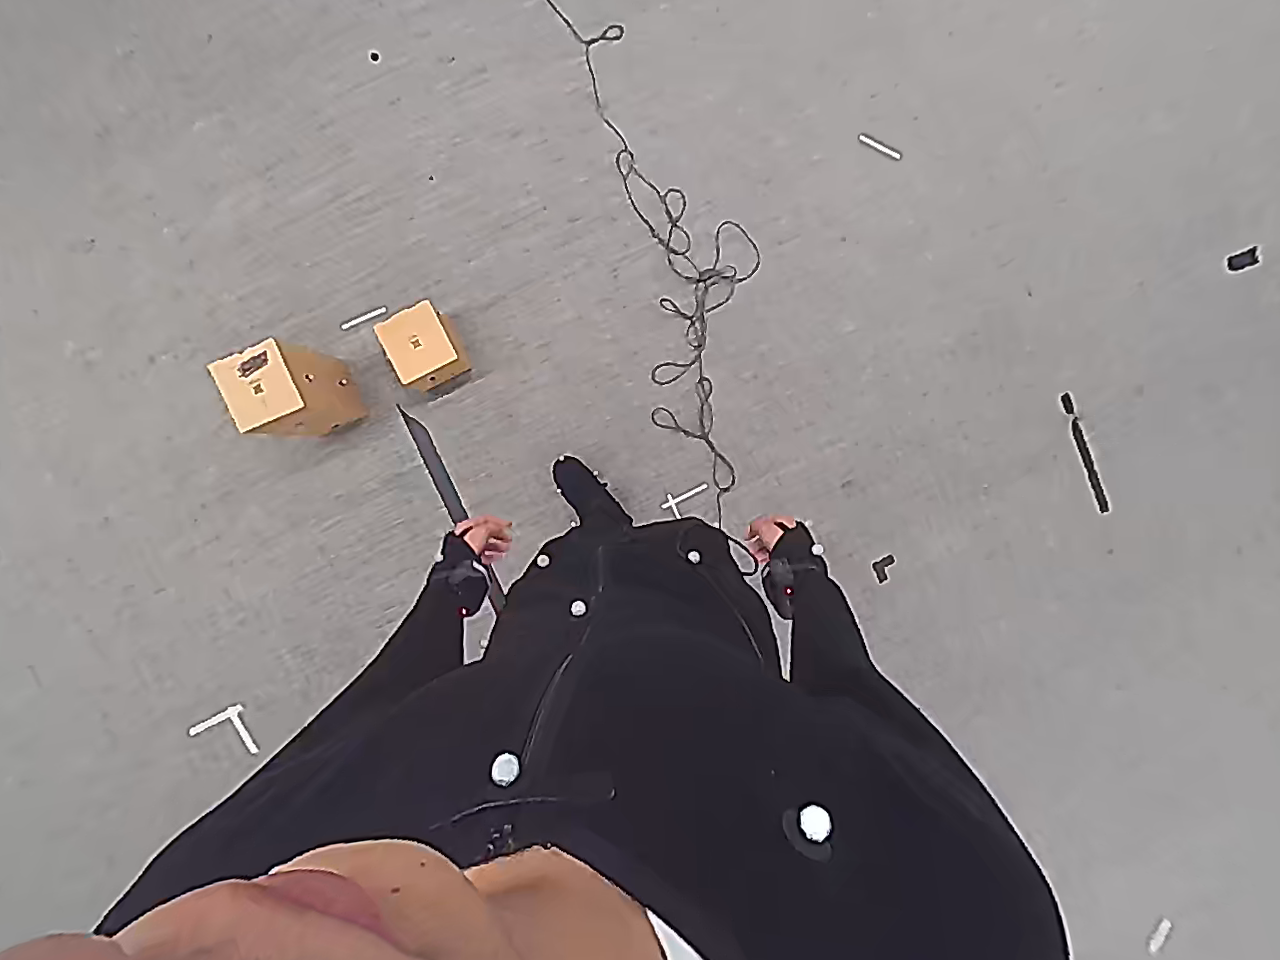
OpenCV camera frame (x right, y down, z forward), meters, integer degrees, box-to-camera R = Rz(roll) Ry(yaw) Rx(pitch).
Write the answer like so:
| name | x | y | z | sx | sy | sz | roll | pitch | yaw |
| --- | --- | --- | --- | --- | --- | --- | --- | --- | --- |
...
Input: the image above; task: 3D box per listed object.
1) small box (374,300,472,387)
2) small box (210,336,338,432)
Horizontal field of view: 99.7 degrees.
| name | x | y | z | sx | sy | sz | roll | pitch | yaw |
| --- | --- | --- | --- | --- | --- | --- | --- | --- | --- |
| small box | -0.594 | -0.369 | 1.504 | 0.168 | 0.176 | 0.179 | -27 | 94 | -1 |
| small box | -0.889 | -0.228 | 1.331 | 0.168 | 0.176 | 0.179 | -23 | 95 | -1 |
